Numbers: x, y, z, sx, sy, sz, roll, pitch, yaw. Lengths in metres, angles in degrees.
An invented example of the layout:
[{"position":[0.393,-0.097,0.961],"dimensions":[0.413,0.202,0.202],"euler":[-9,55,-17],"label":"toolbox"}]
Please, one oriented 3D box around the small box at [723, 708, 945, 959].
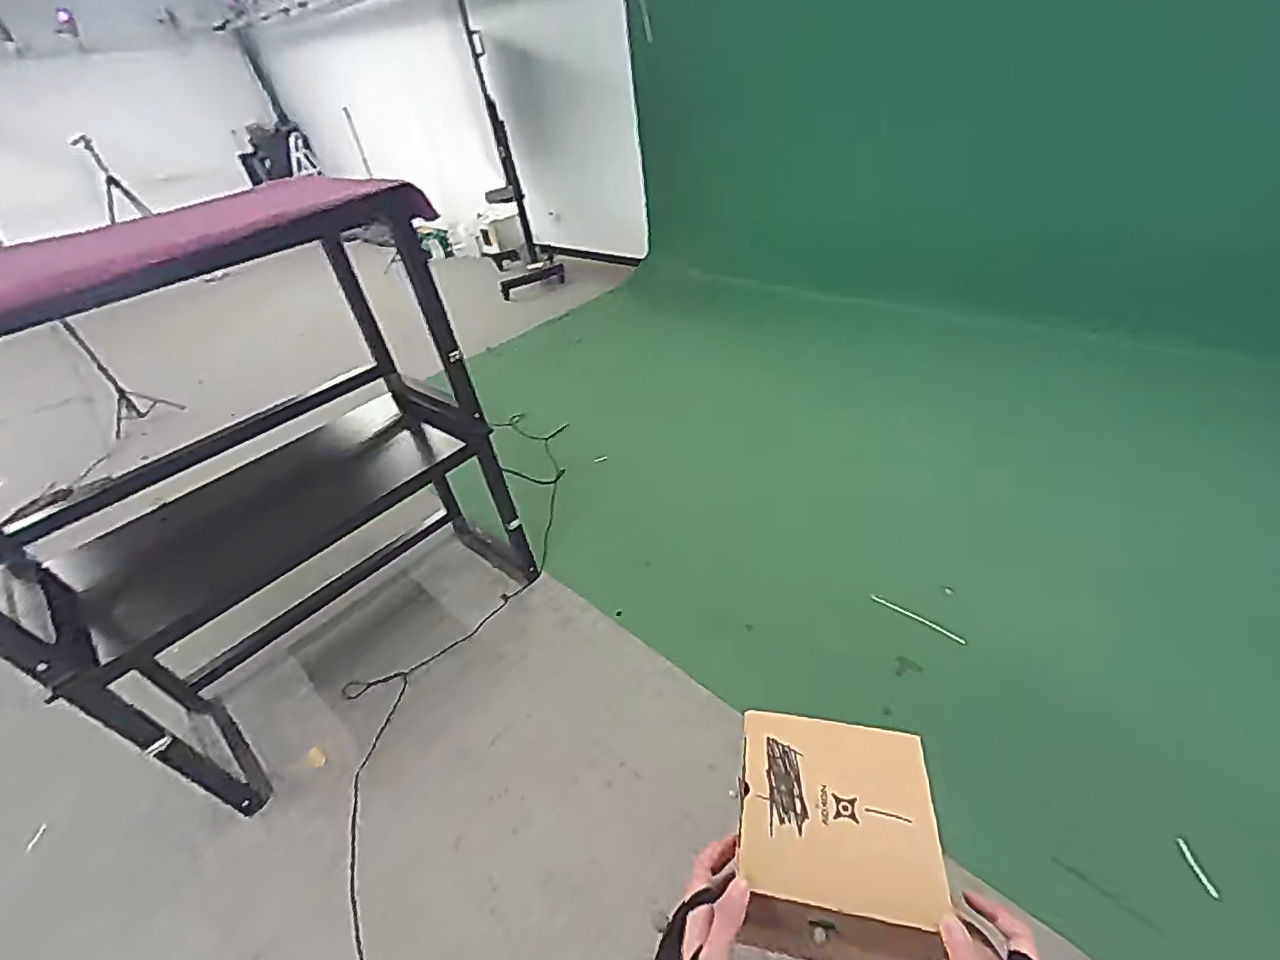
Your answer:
[{"position":[0.179,0.362,0.548],"dimensions":[0.179,0.176,0.168],"euler":[4,38,12],"label":"small box"}]
